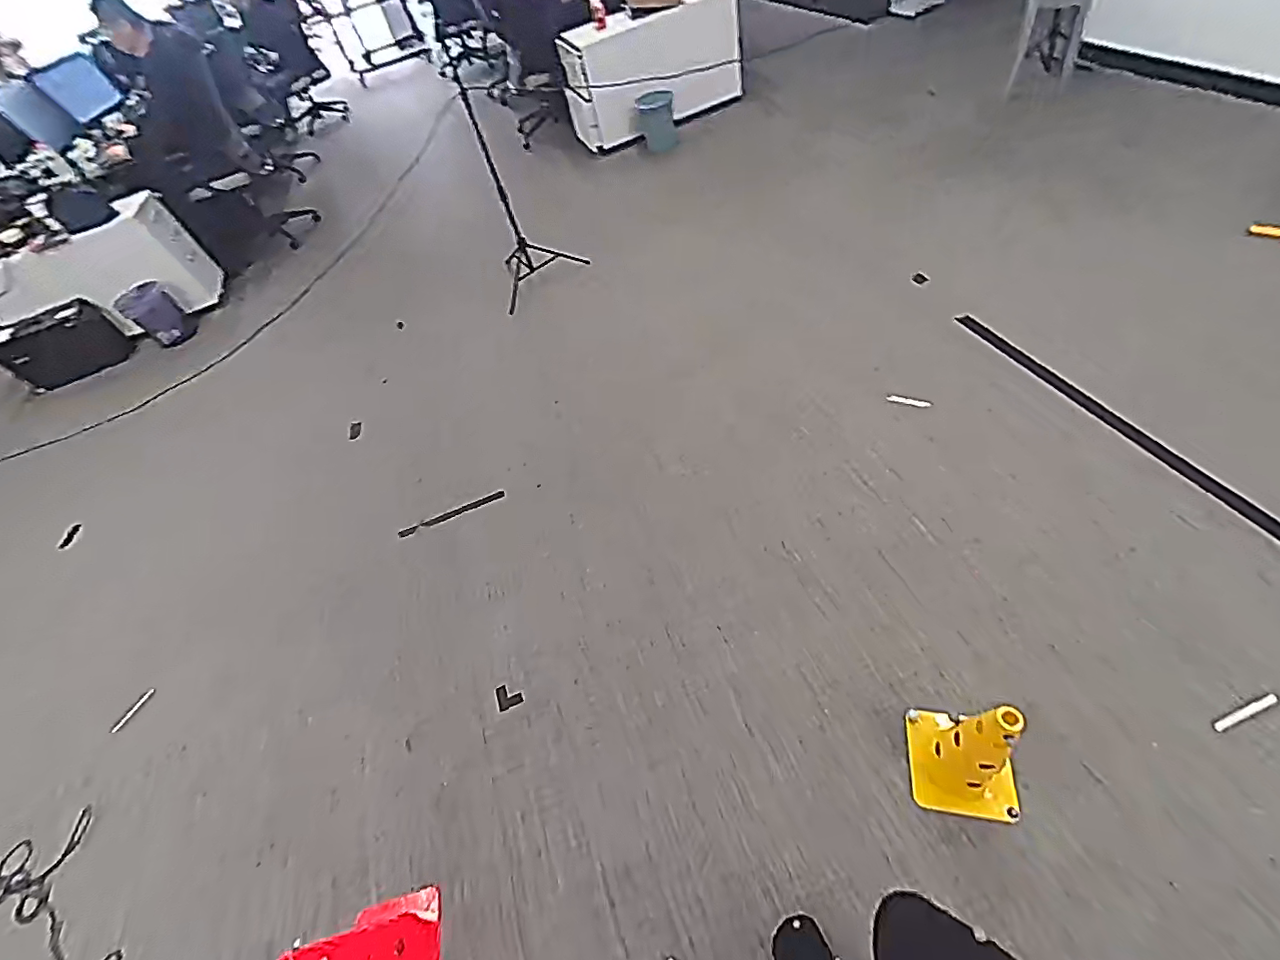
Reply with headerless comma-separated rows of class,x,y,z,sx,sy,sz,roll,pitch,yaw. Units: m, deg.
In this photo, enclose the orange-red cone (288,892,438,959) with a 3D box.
orange-red cone,-0.566,0.937,1.048,0.199,0.360,0.198,-18,51,0
